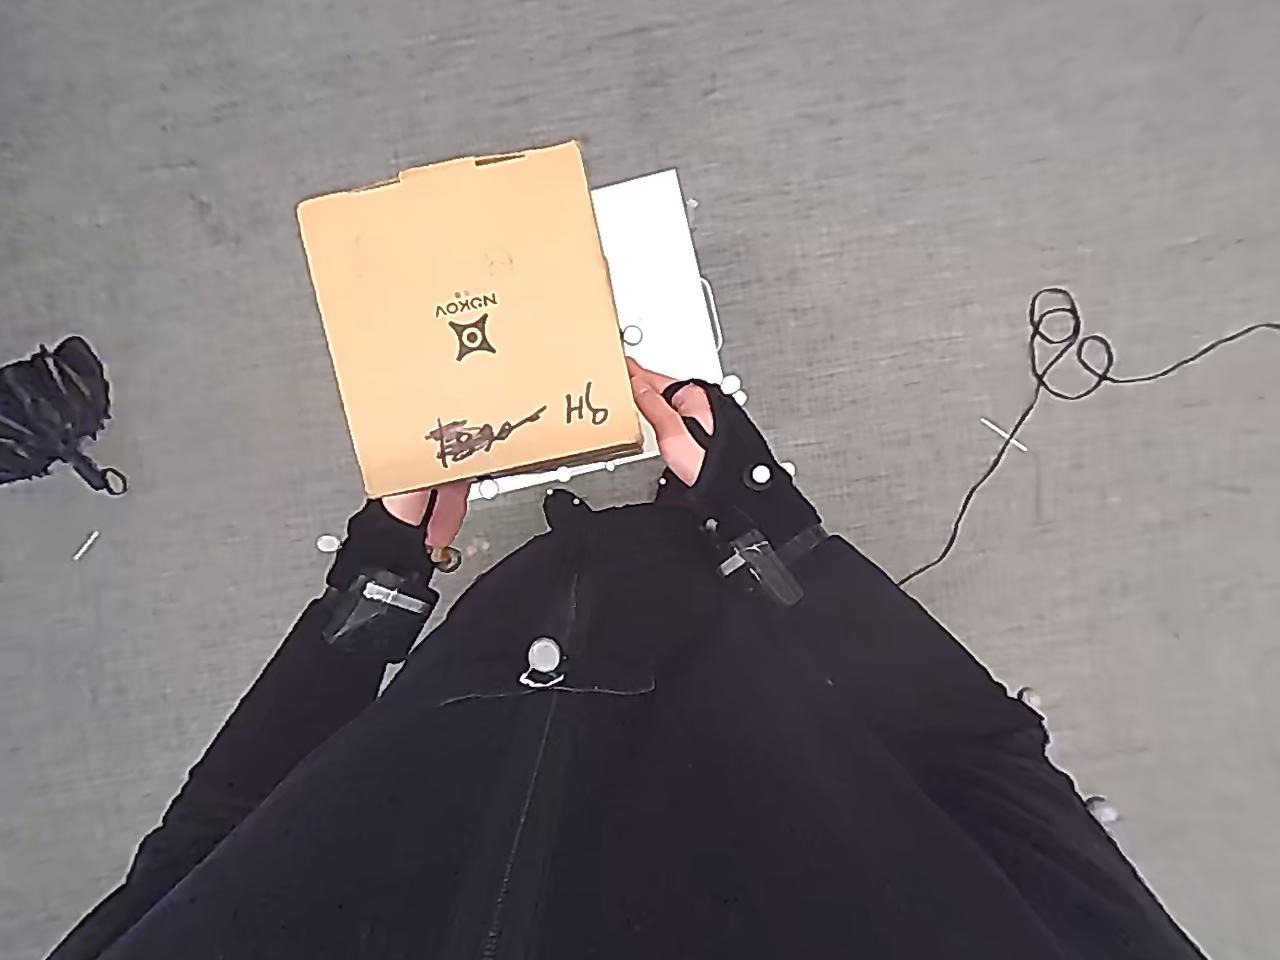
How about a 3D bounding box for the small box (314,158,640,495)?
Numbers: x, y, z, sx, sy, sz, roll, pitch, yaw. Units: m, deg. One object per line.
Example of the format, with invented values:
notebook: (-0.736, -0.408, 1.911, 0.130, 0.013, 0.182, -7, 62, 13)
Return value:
small box: (-0.096, -0.090, 0.397, 0.168, 0.176, 0.179, -12, 91, 1)
